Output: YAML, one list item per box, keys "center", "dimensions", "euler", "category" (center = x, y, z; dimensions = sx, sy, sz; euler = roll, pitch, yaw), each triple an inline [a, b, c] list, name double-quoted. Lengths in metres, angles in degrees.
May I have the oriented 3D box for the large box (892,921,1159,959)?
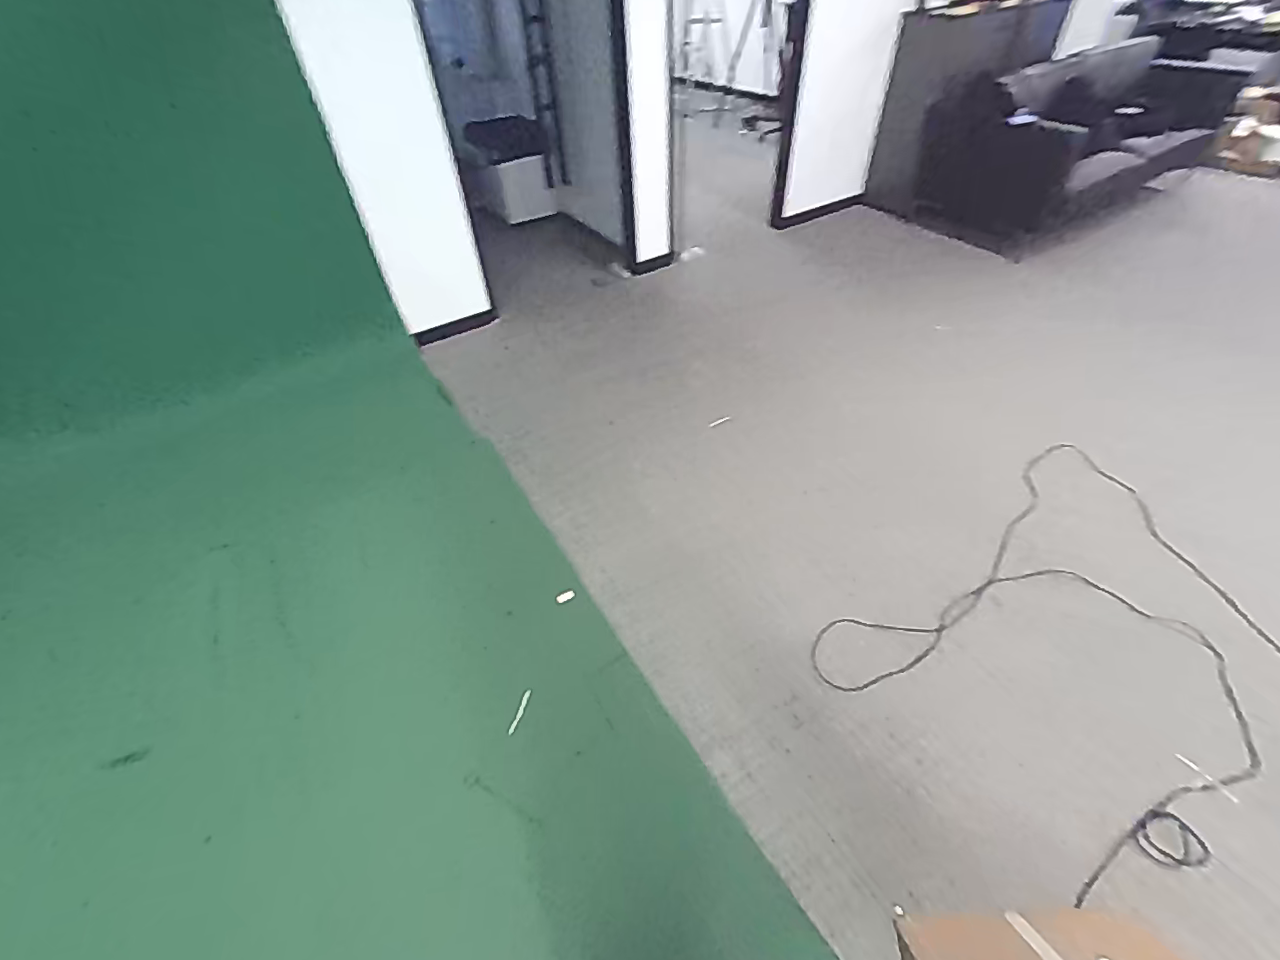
- center: [0.505, 0.744, 0.542]
  dimensions: [0.320, 0.408, 0.320]
  euler: [-5, 79, 5]
  category: "large box"
